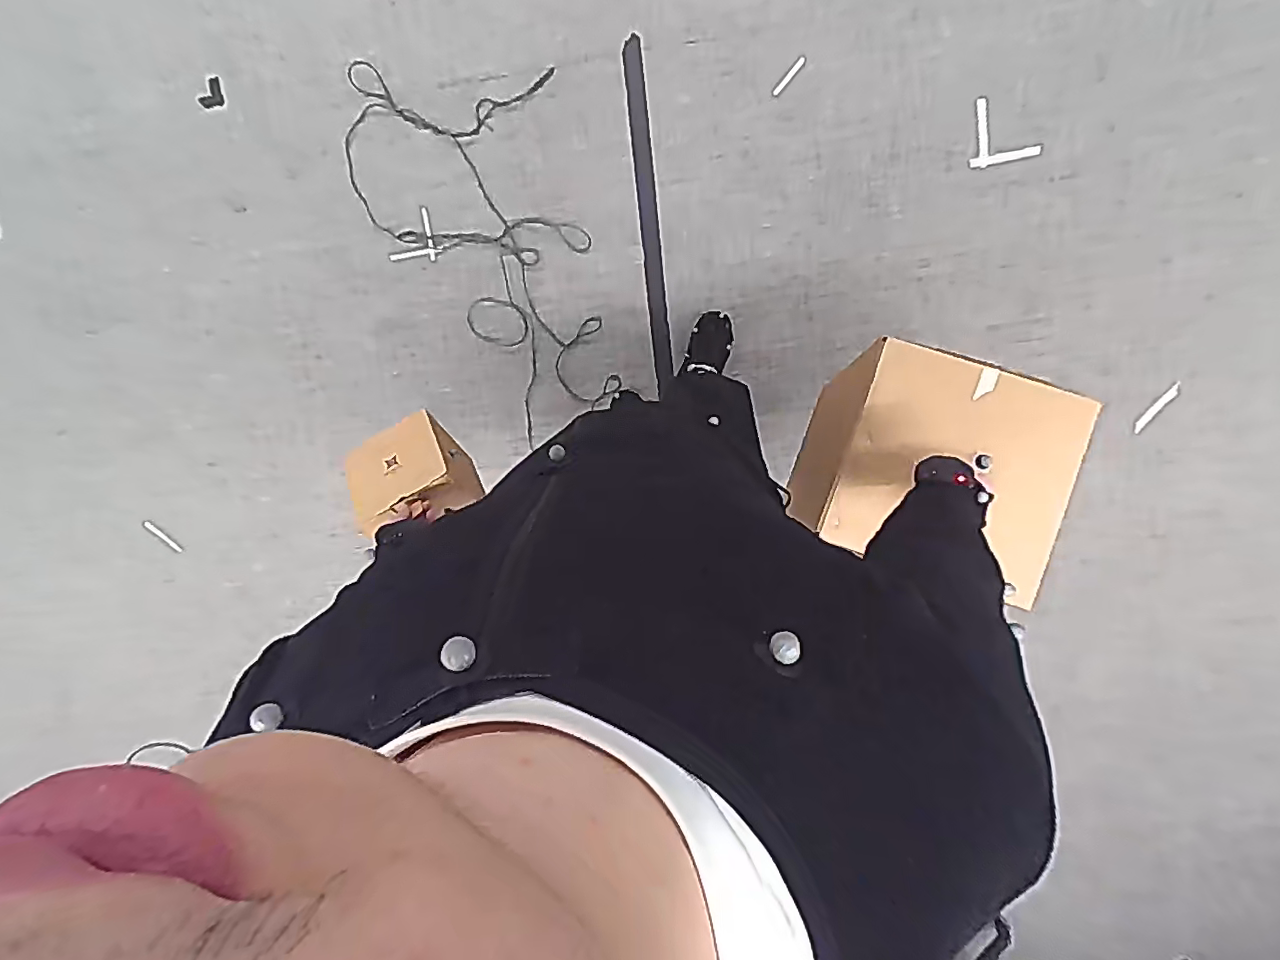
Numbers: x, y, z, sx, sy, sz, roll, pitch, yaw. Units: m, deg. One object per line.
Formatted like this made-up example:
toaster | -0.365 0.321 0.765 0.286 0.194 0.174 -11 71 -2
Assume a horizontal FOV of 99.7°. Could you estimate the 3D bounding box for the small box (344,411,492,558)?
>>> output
small box | -0.389 0.018 0.965 0.168 0.176 0.179 -31 54 -5
